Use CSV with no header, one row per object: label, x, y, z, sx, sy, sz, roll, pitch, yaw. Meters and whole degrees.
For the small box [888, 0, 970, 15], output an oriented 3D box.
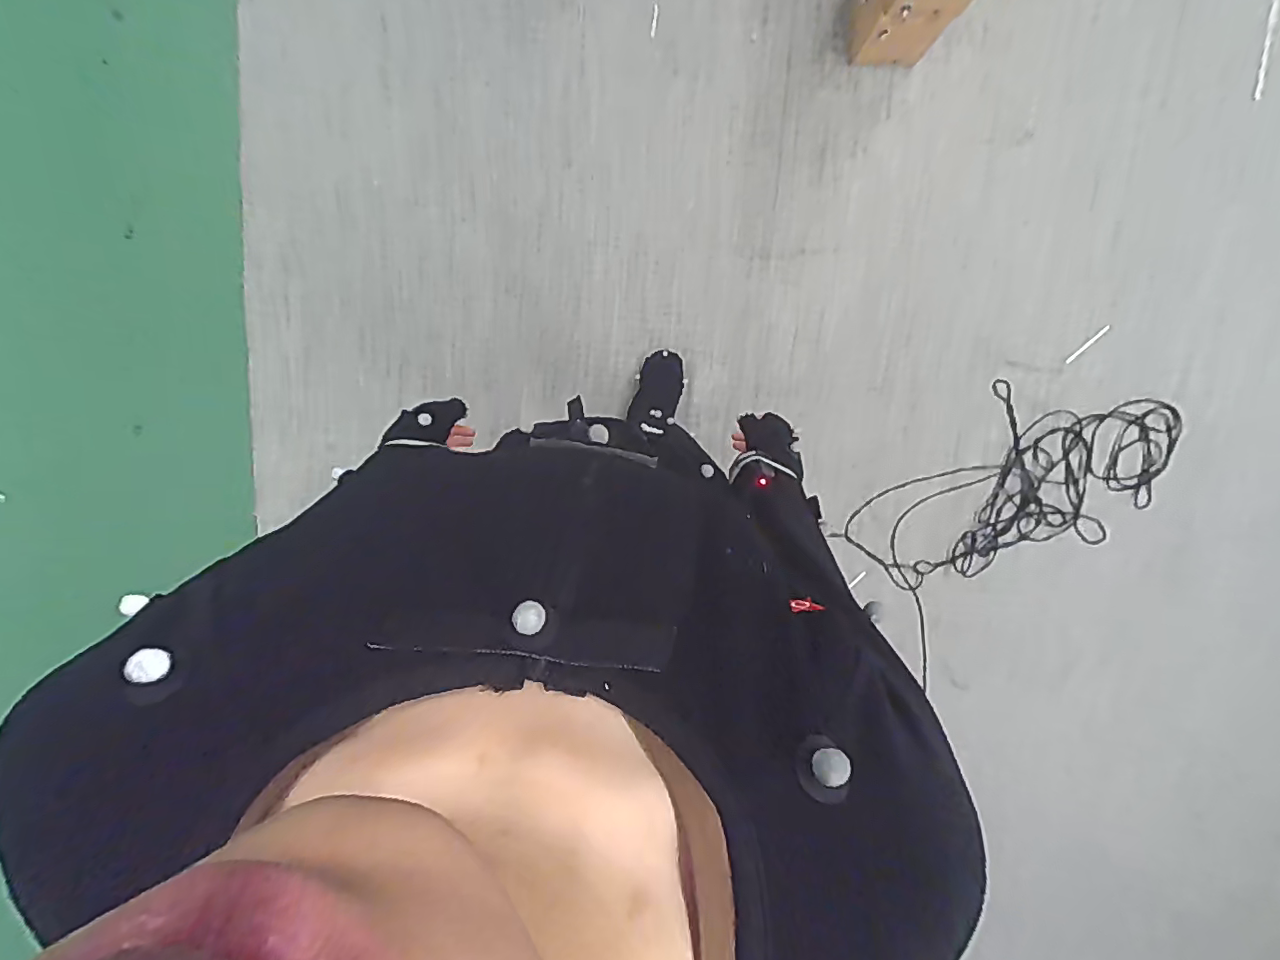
small box,0.611,-1.070,1.069,0.168,0.176,0.179,0,98,-1
